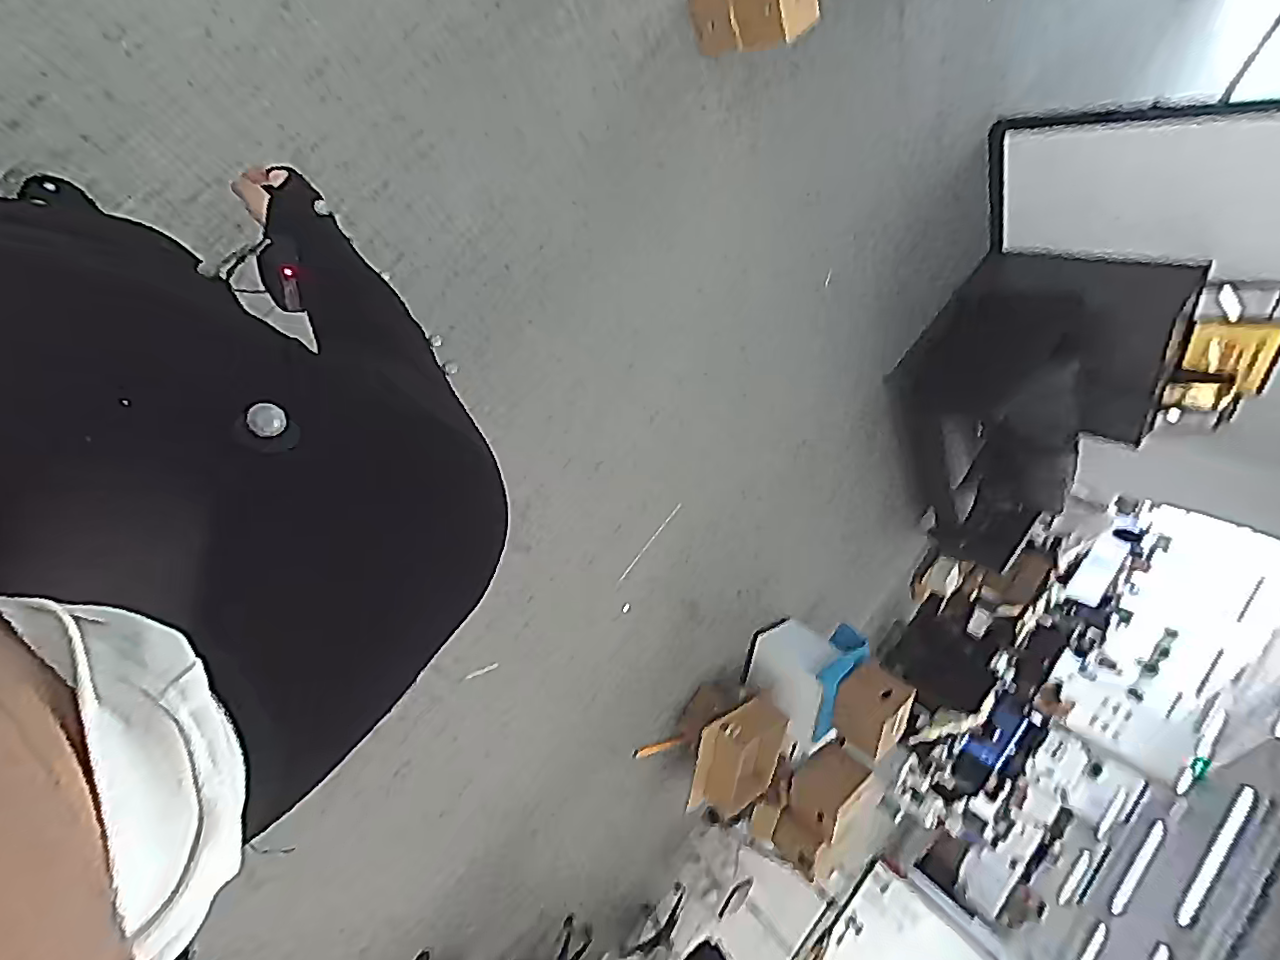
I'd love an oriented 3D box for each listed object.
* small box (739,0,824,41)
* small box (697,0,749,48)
[{"bbox_3d":[0.406,-1.423,1.579,0.168,0.176,0.179,-46,134,-13],"label":"small box"},{"bbox_3d":[0.296,-1.484,1.682,0.179,0.176,0.168,-44,135,-14],"label":"small box"}]
